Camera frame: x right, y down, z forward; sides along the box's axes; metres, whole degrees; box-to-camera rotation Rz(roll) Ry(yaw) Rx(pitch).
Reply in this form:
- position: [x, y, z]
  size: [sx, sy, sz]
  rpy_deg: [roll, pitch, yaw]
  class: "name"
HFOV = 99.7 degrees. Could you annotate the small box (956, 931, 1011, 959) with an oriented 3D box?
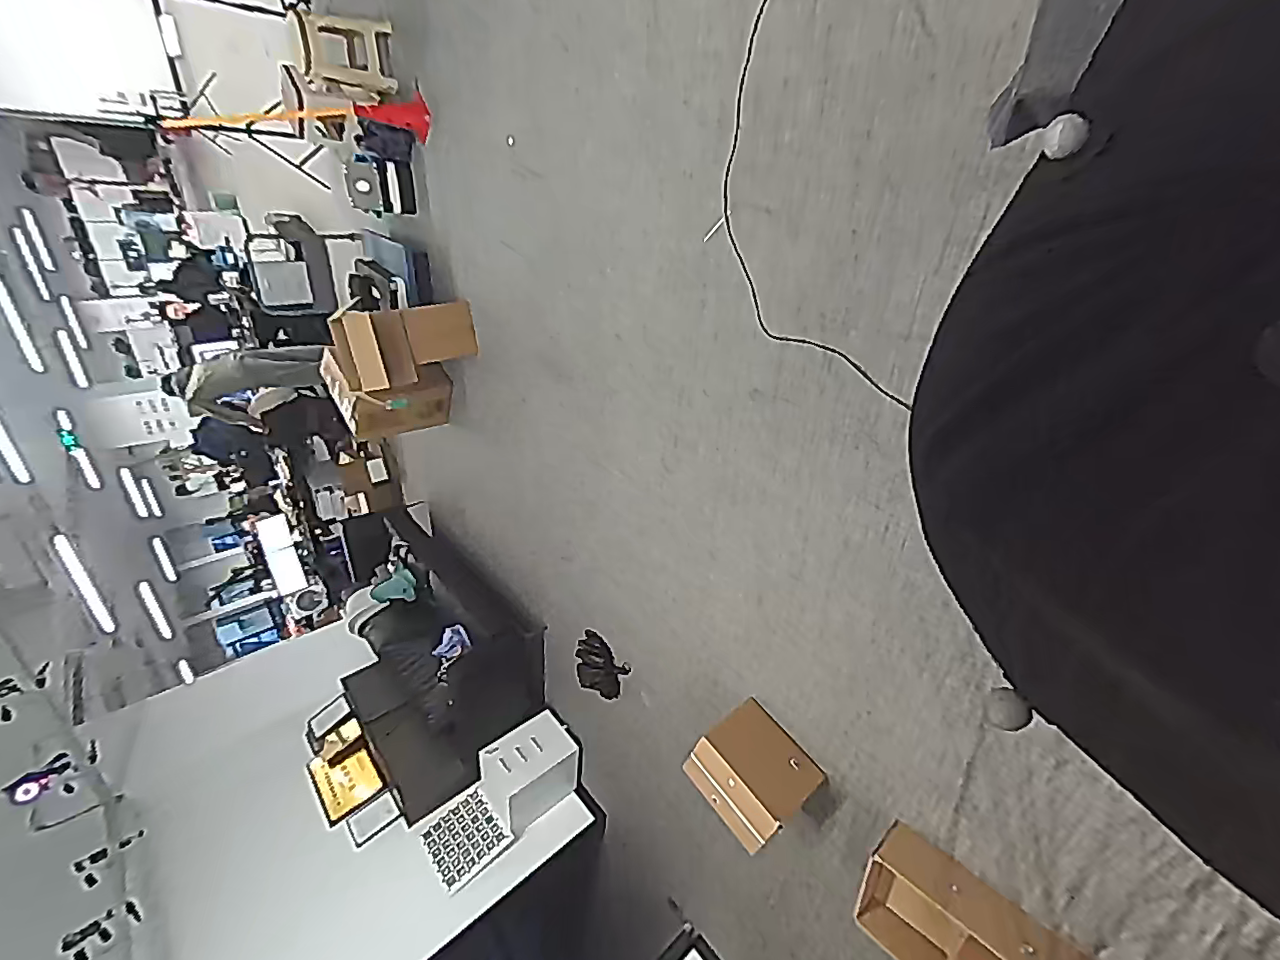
- position: [1.067, 1.551, 1.652]
  size: [0.179, 0.176, 0.168]
  rpy_deg: [34, 130, 41]
  class: "small box"
